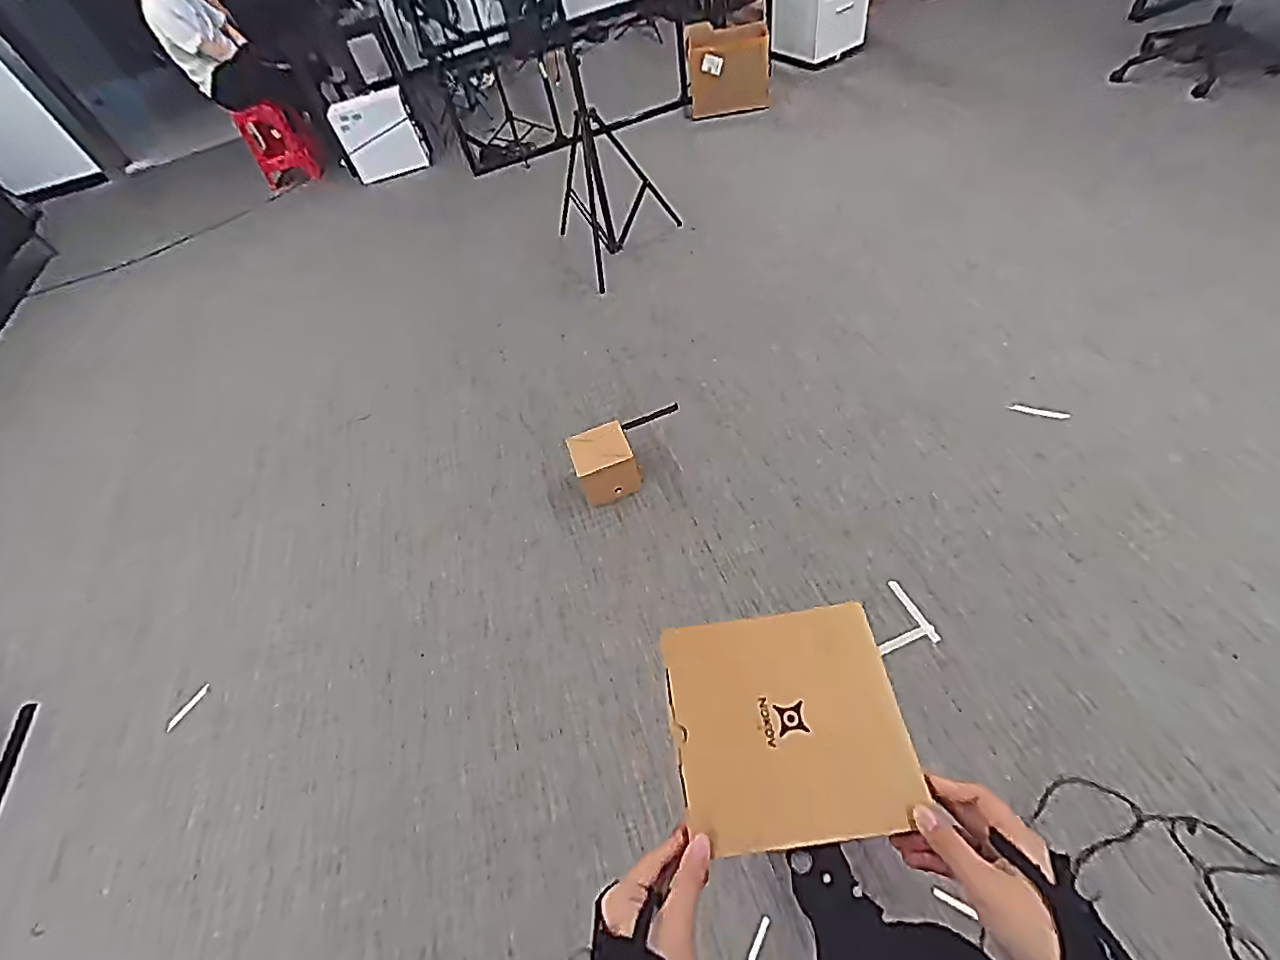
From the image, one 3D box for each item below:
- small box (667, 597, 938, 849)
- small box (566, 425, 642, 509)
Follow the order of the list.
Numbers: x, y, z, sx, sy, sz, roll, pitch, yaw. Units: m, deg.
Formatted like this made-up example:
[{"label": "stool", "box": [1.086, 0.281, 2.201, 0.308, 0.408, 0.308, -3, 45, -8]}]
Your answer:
[{"label": "small box", "box": [0.125, 0.222, 0.489, 0.179, 0.176, 0.168, -10, 57, 3]}, {"label": "small box", "box": [-0.112, -0.045, 1.682, 0.179, 0.176, 0.168, -20, 52, -4]}]
